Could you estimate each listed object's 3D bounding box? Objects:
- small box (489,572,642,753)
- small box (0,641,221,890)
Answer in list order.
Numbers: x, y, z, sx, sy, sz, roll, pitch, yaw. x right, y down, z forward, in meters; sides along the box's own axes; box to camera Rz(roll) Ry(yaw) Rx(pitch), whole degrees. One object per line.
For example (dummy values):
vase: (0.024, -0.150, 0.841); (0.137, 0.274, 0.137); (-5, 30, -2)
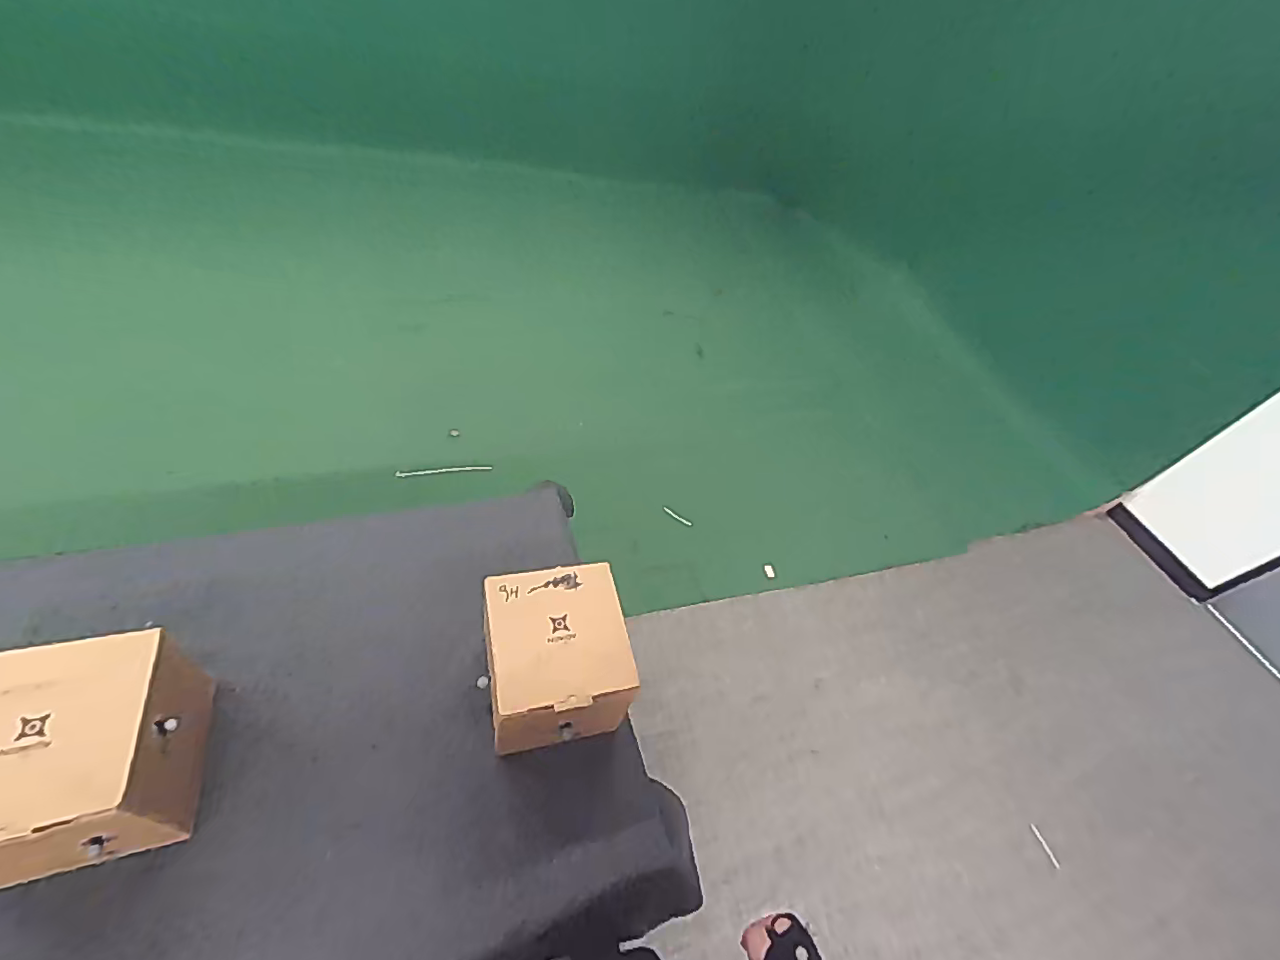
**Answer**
small box: (-0.109, 0.248, 0.725); (0.168, 0.176, 0.179); (-5, 53, -19)
small box: (-0.566, 0.296, 0.559); (0.168, 0.176, 0.179); (-6, 51, -22)
